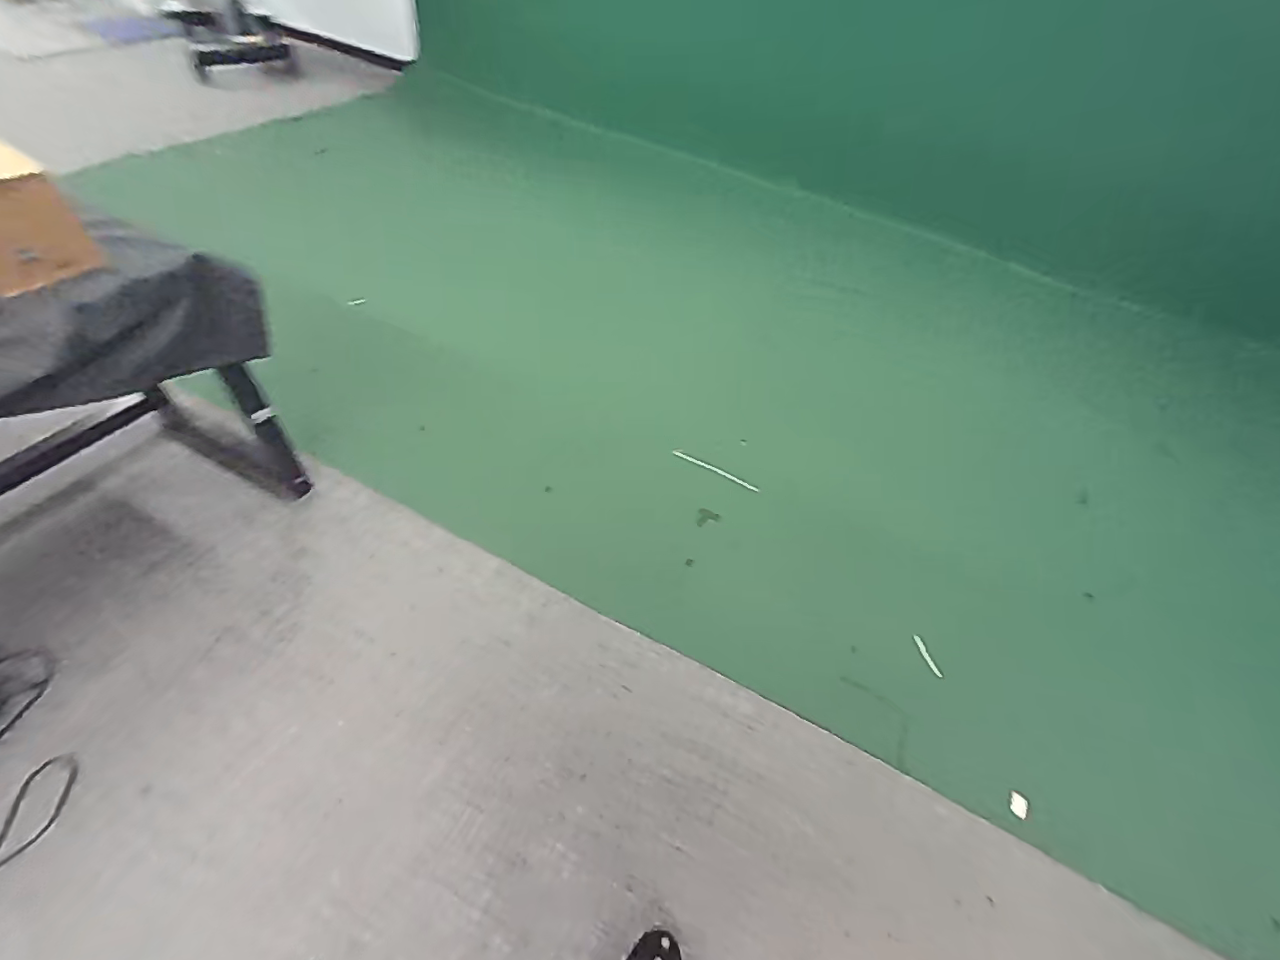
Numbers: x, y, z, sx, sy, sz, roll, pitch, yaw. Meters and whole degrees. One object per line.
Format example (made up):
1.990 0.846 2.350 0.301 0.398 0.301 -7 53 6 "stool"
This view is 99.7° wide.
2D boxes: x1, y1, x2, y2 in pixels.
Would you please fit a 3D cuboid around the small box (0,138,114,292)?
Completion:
-1.077 -0.448 0.920 0.179 0.176 0.168 29 52 15 "small box"
